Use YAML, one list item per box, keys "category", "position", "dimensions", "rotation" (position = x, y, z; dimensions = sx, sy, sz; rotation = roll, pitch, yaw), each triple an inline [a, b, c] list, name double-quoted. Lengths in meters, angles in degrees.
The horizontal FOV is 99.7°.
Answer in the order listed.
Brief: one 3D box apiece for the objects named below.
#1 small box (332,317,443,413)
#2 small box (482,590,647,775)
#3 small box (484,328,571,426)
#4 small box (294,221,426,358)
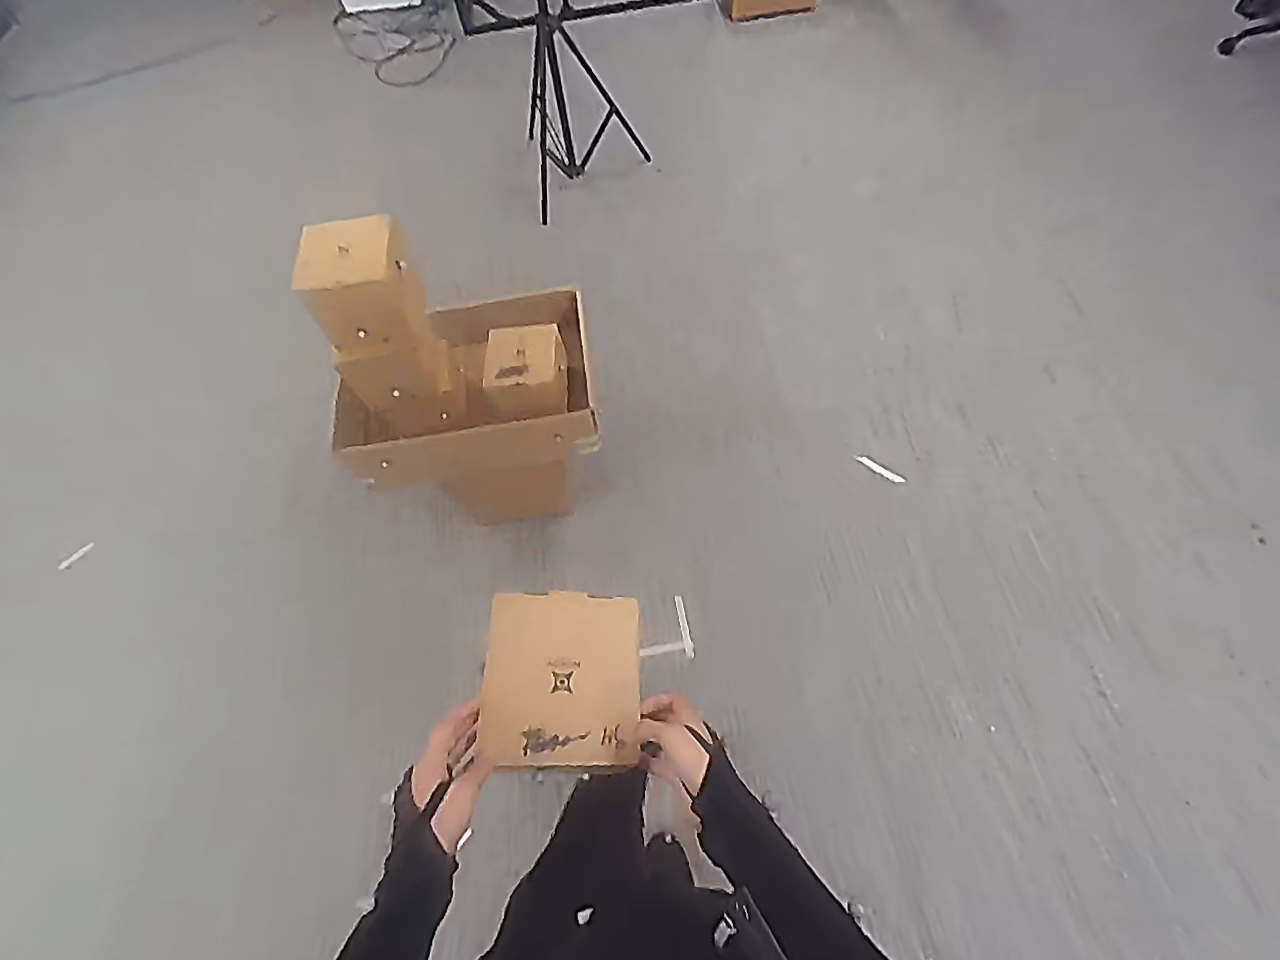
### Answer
- category: "small box"
  position: [-0.543, -0.274, 1.182]
  dimensions: [0.168, 0.176, 0.179]
  rotation: [-12, 63, -3]
- category: "small box"
  position: [-0.089, 0.246, 0.641]
  dimensions: [0.168, 0.176, 0.179]
  rotation: [5, 59, -10]
- category: "small box"
  position: [-0.267, -0.244, 1.324]
  dimensions: [0.168, 0.176, 0.179]
  rotation: [-4, 63, 4]
- category: "small box"
  position: [-0.527, -0.364, 1.045]
  dimensions: [0.168, 0.176, 0.179]
  rotation: [-9, 63, -2]
